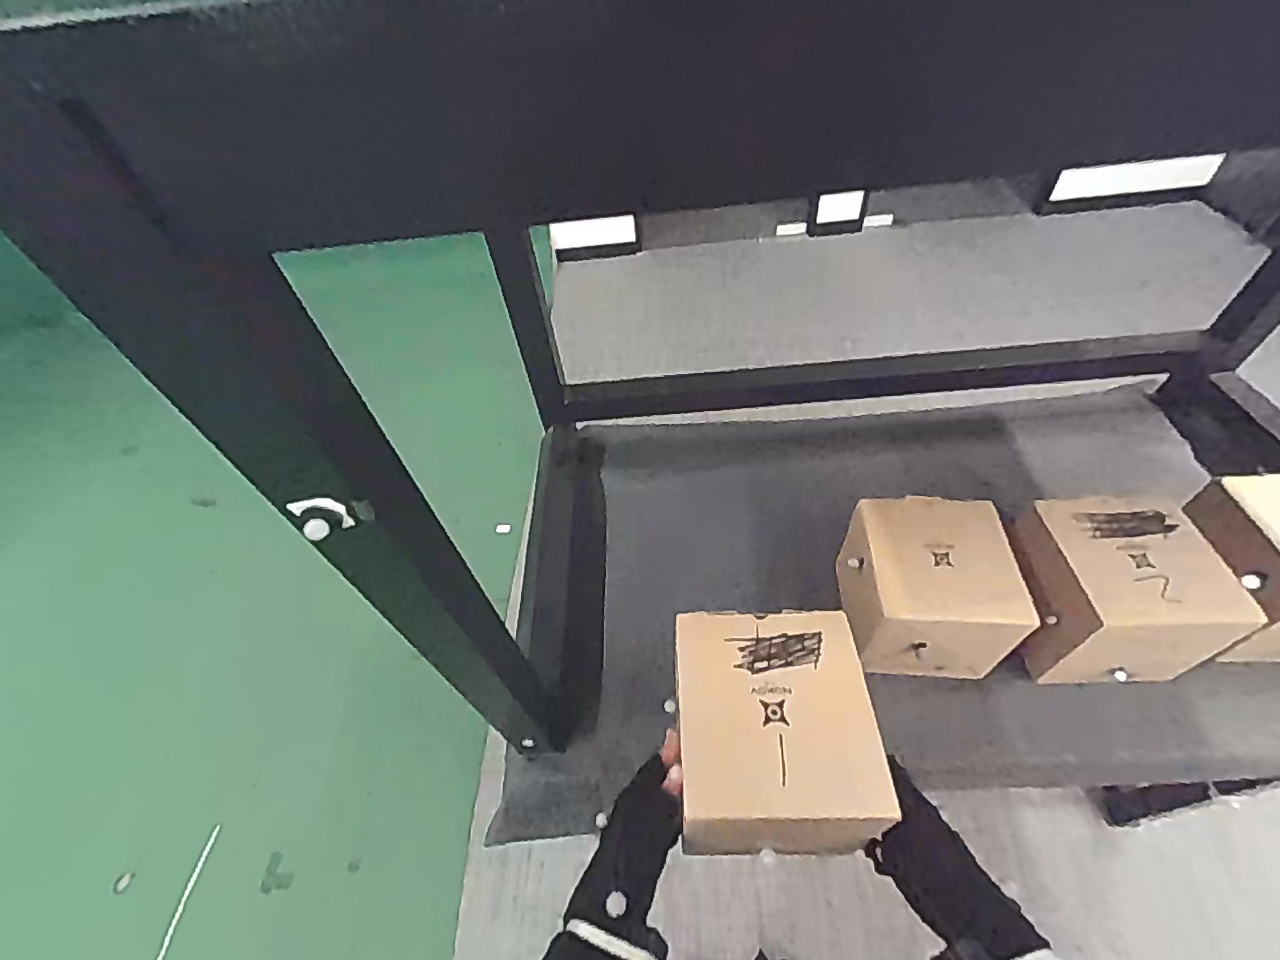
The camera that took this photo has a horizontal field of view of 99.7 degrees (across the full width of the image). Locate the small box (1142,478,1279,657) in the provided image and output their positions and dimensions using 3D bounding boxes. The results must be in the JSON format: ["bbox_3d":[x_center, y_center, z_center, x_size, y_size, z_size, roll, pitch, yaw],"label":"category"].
[{"bbox_3d":[0.811,0.116,0.684,0.168,0.176,0.179,-1,49,6],"label":"small box"}]

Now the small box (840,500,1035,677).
[{"bbox_3d":[0.372,0.146,0.717,0.168,0.176,0.179,1,49,8],"label":"small box"}]
